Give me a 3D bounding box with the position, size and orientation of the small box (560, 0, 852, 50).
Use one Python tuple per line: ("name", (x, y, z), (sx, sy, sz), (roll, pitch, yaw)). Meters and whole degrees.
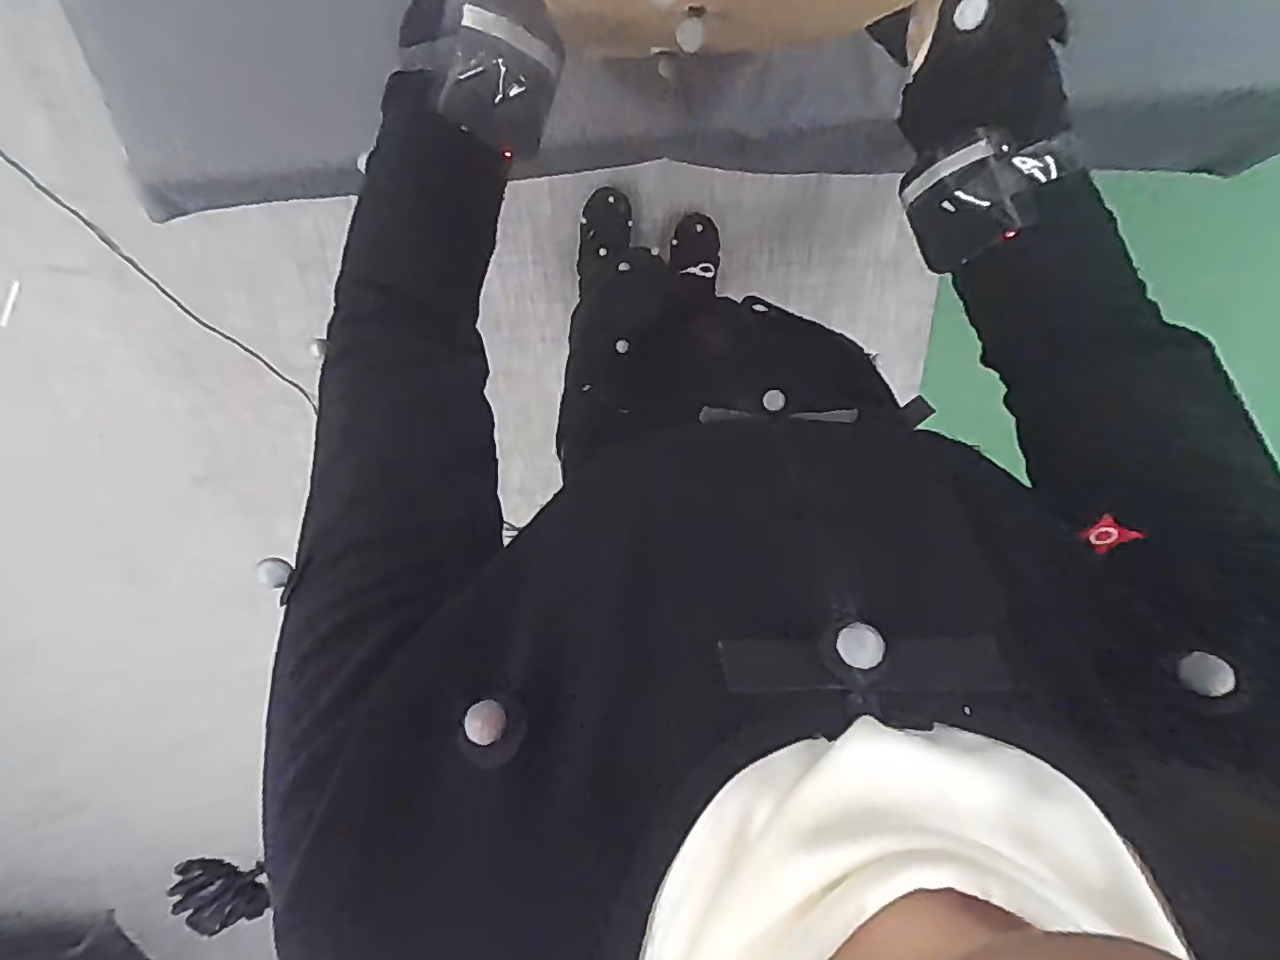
("small box", (0.037, -0.324, 0.252), (0.179, 0.176, 0.168), (-4, 119, 0))
